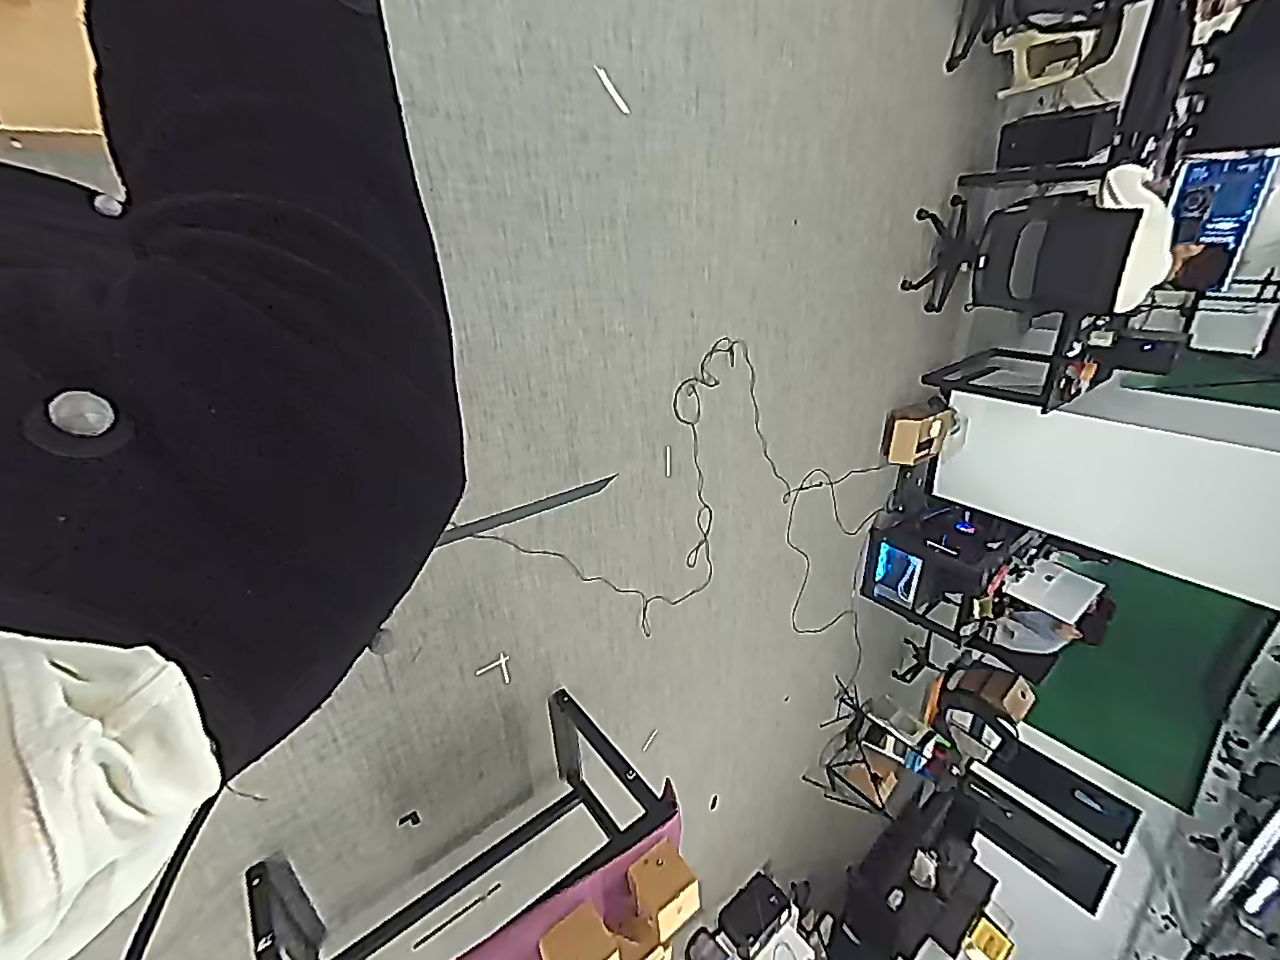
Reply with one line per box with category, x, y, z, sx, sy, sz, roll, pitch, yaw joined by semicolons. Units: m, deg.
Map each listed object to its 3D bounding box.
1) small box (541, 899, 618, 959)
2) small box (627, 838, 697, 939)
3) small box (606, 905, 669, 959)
small box;-0.182;1.418;1.608;0.179;0.176;0.168;-20;121;-34
small box;0.072;1.347;1.794;0.168;0.176;0.179;-23;122;-30
small box;-0.023;1.590;1.823;0.168;0.176;0.179;-13;117;-36
